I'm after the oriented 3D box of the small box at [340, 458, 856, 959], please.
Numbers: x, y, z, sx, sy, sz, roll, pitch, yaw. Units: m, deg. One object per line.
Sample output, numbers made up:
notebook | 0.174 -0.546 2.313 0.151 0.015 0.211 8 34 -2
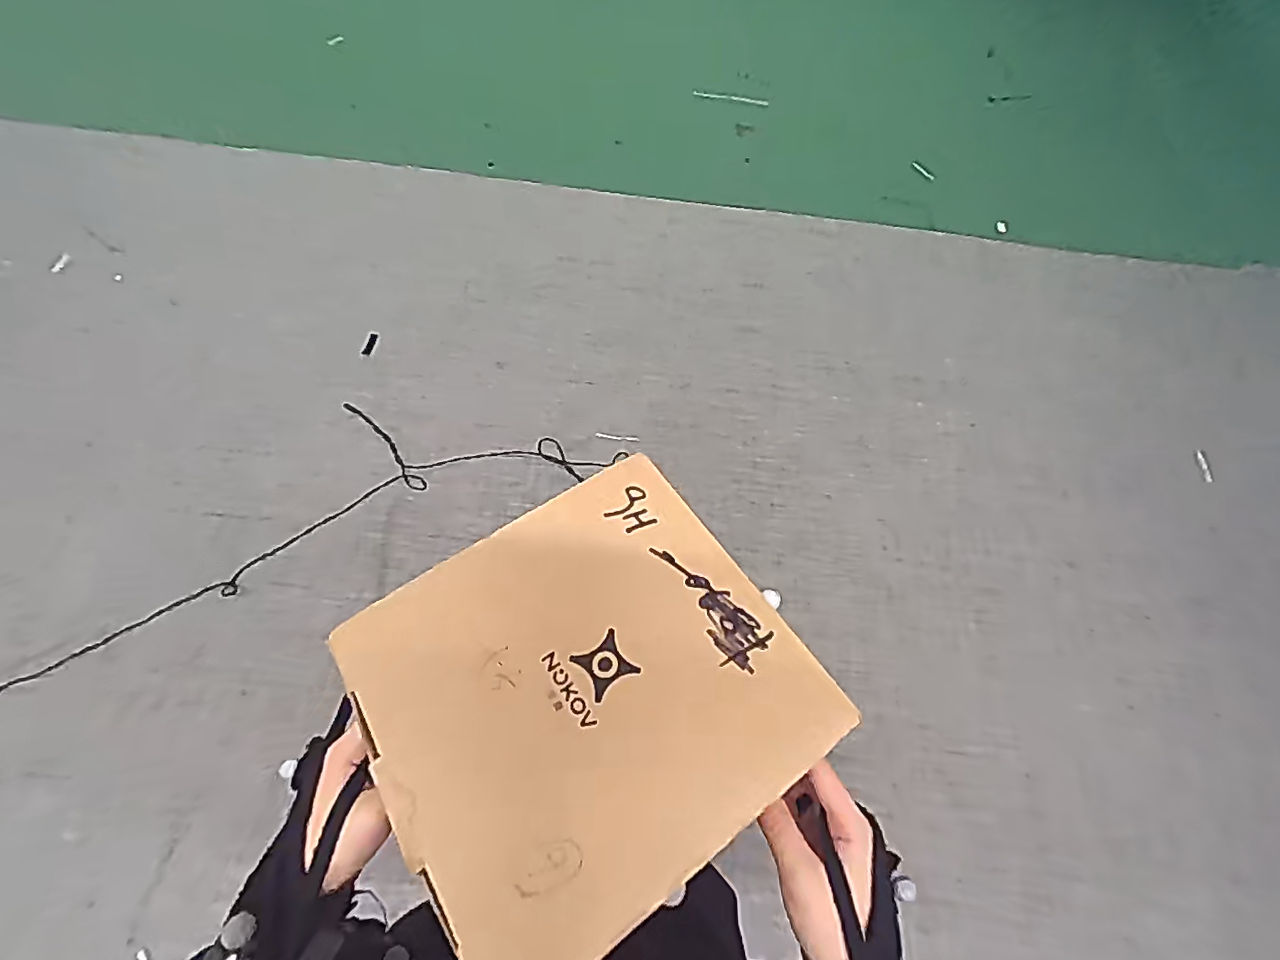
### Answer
small box | -0.022 0.127 0.305 0.179 0.176 0.168 -31 64 -17
